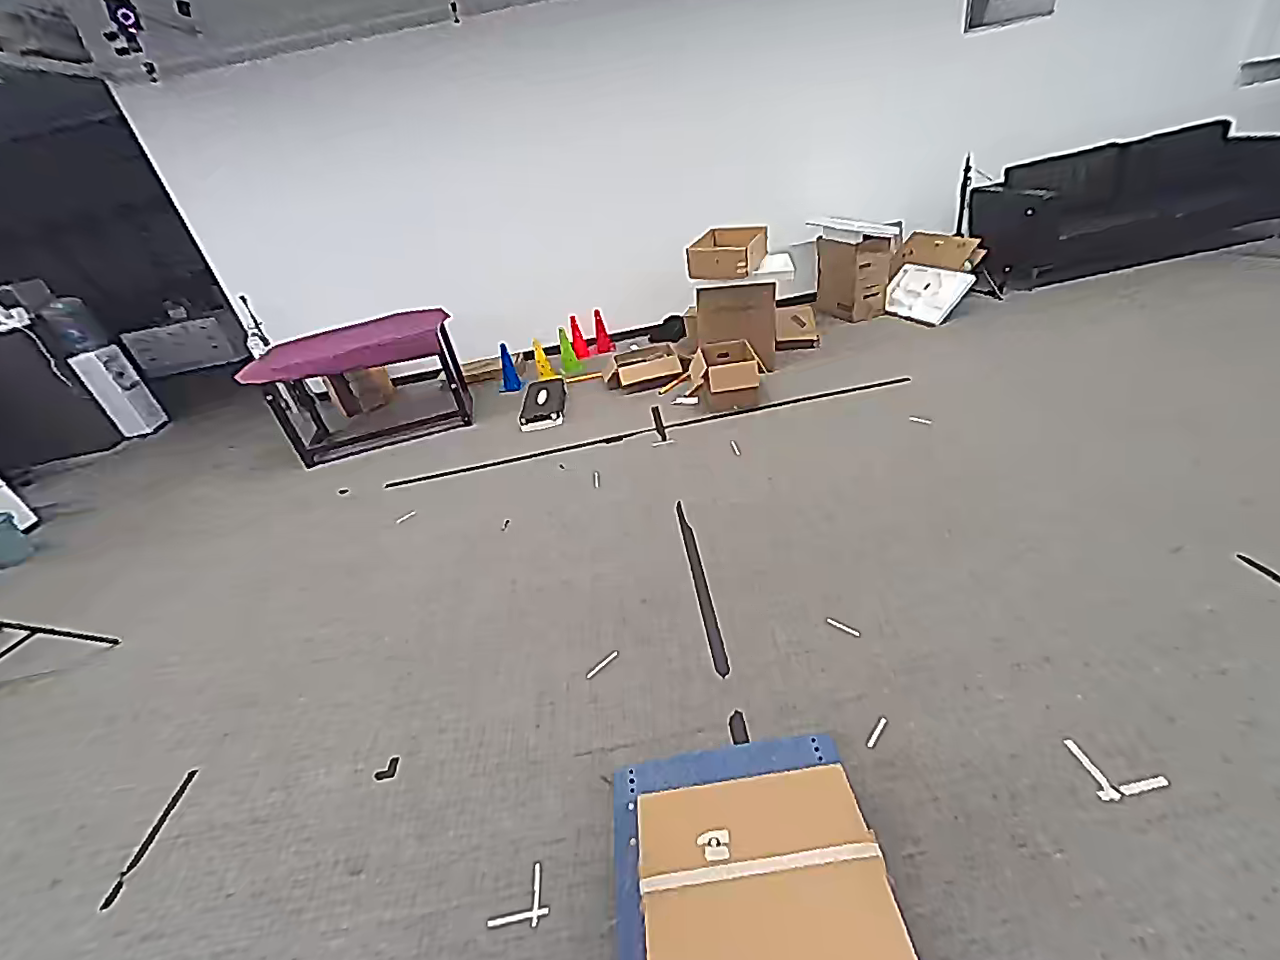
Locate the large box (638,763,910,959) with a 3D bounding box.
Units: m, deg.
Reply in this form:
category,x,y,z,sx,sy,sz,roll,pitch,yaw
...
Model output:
category,x,y,z,sx,sy,sz,roll,pitch,yaw
large box,0.231,0.797,1.020,0.408,0.320,0.320,-11,31,2
